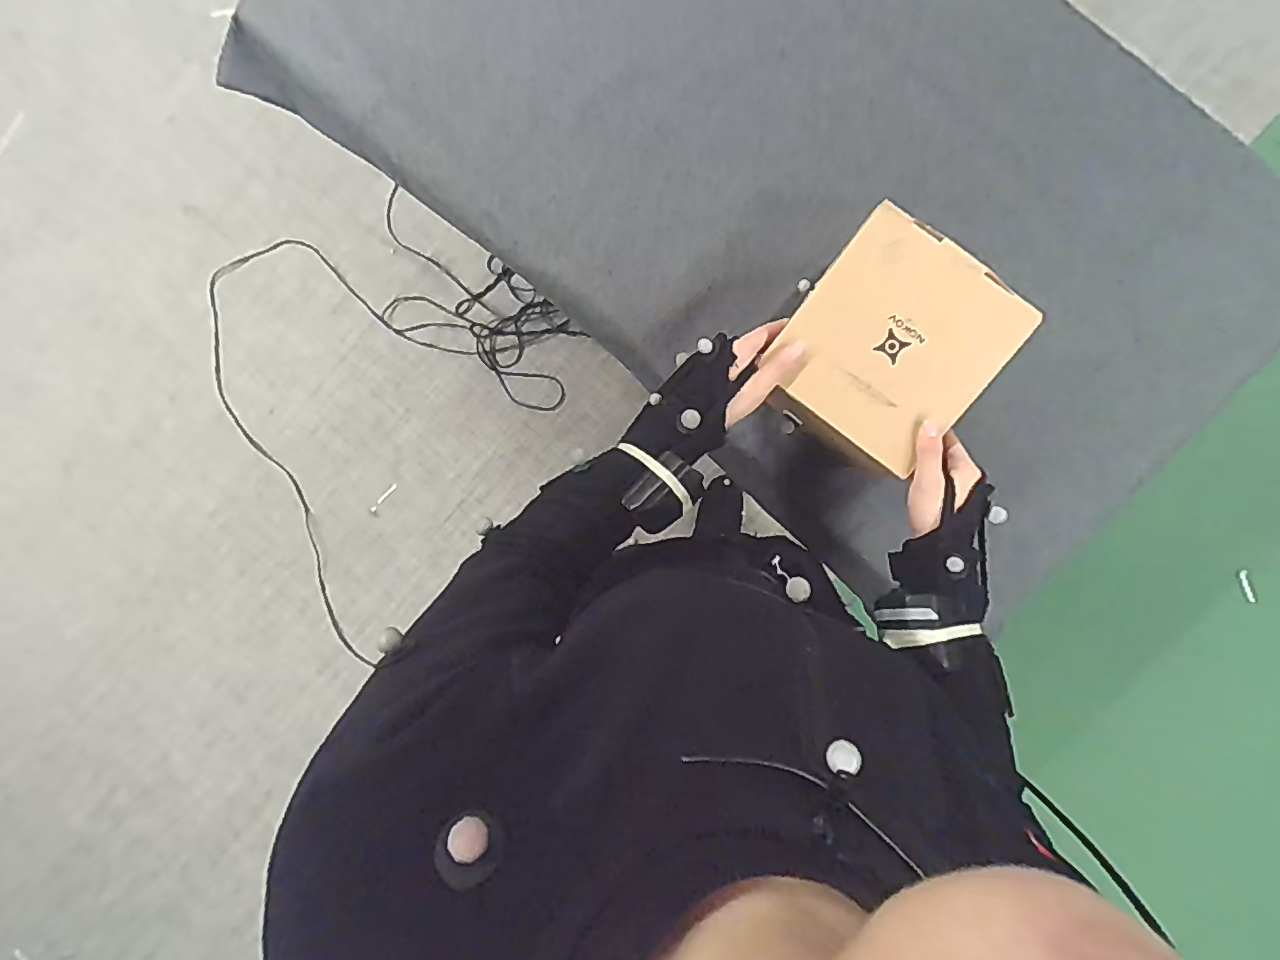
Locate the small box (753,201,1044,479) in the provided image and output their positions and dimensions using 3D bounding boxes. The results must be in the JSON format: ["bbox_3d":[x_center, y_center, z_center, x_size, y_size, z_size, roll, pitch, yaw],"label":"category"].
[{"bbox_3d":[0.226,-0.124,0.534,0.168,0.176,0.179,37,99,2],"label":"small box"}]
